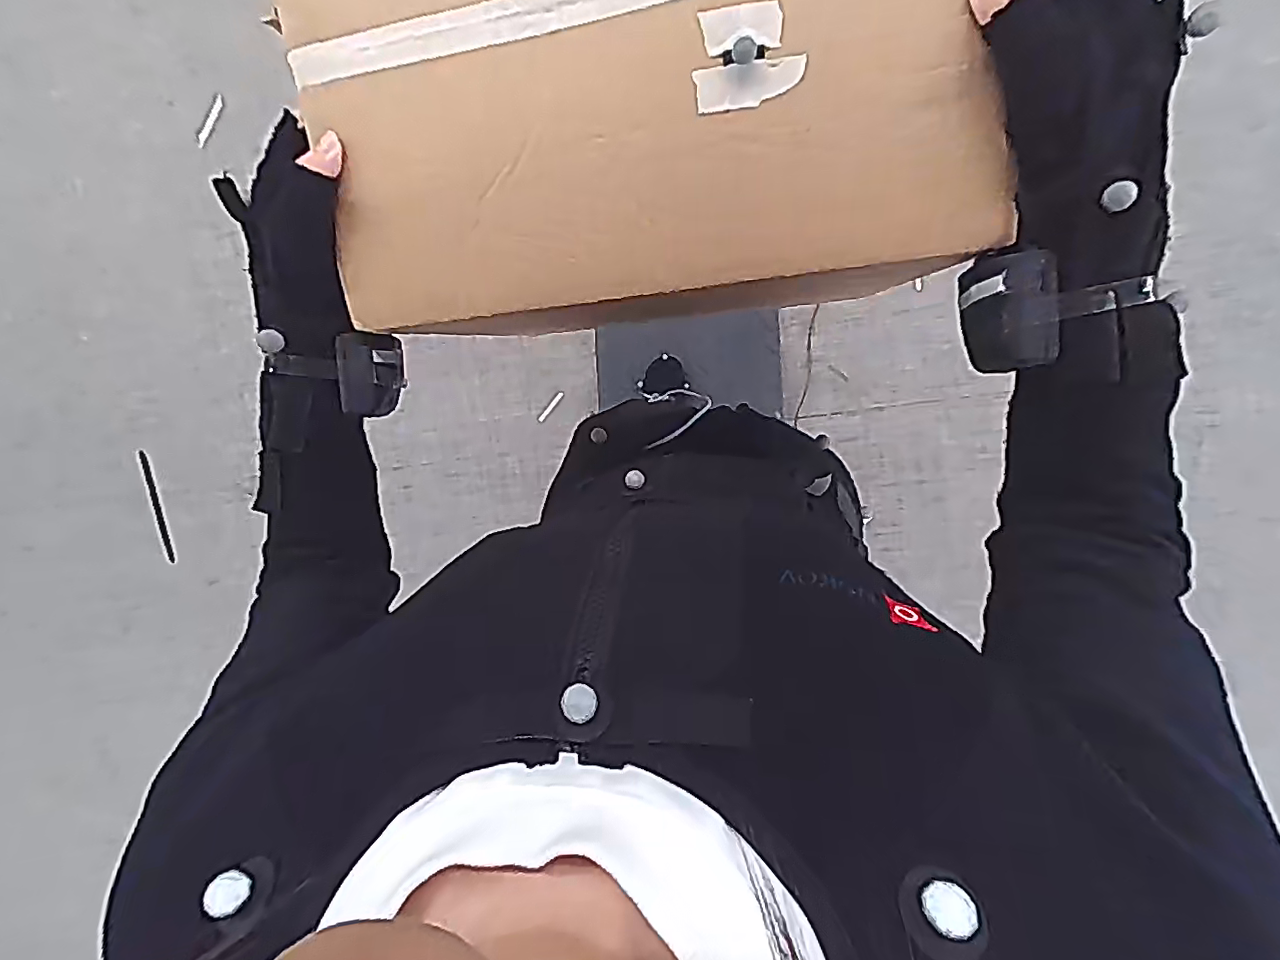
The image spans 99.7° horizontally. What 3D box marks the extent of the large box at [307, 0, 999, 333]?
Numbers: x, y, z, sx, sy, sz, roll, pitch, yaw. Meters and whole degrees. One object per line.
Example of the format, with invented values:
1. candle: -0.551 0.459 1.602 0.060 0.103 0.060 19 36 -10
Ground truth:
1. large box: 0.012 -0.310 0.453 0.408 0.320 0.320 -4 104 10

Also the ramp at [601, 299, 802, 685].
1. ramp: 0.150 0.037 1.438 0.509 0.206 0.991 -5 98 12
